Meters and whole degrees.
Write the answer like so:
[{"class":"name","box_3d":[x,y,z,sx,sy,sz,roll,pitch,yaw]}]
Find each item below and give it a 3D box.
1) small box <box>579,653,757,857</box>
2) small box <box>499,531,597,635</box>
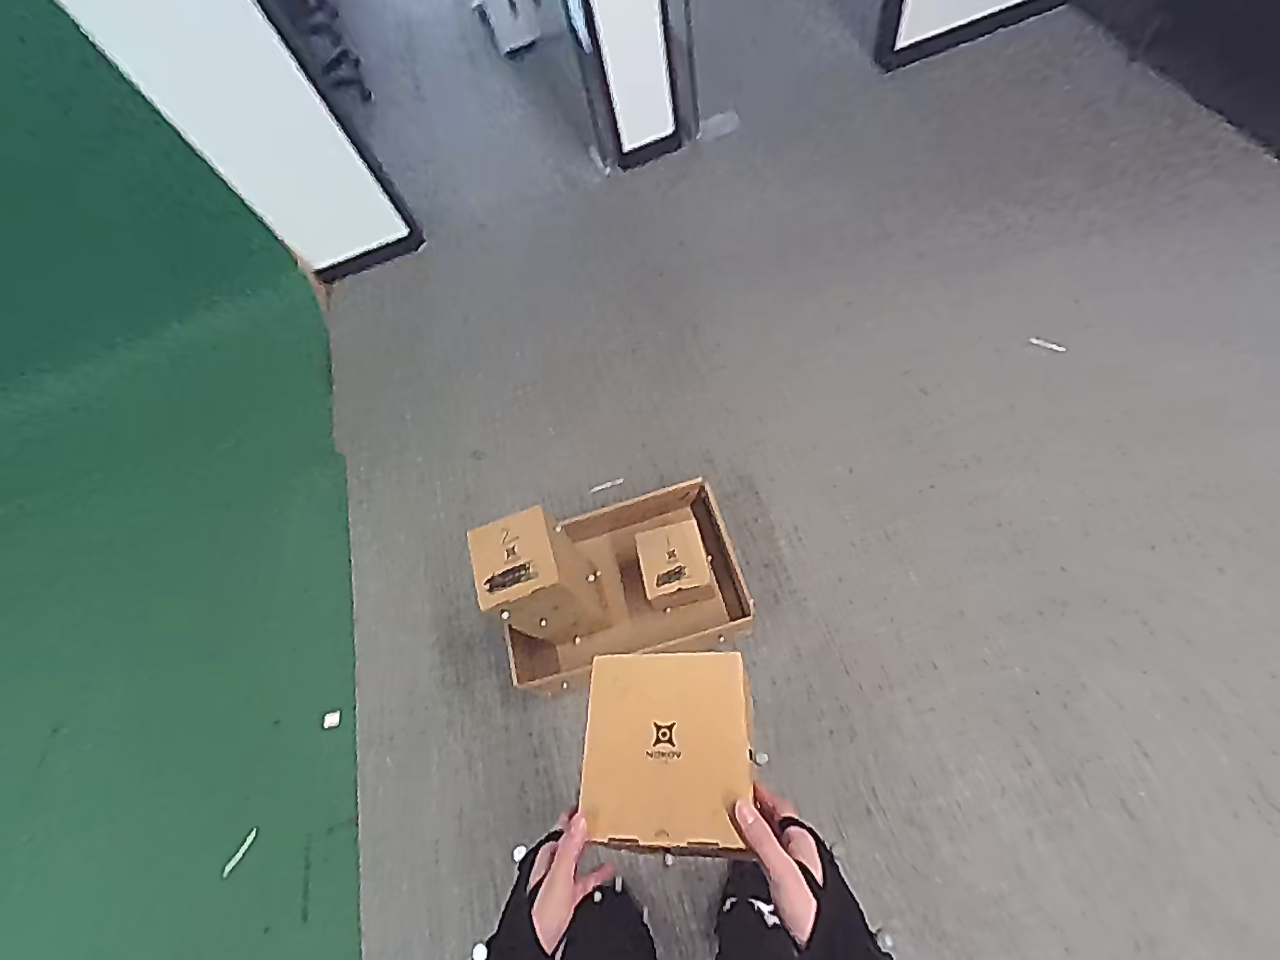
[{"class":"small box","box_3d":[0.041,0.307,0.604,0.168,0.176,0.179,-4,54,10]},{"class":"small box","box_3d":[-0.215,0.250,1.287,0.168,0.176,0.179,-20,63,2]}]
